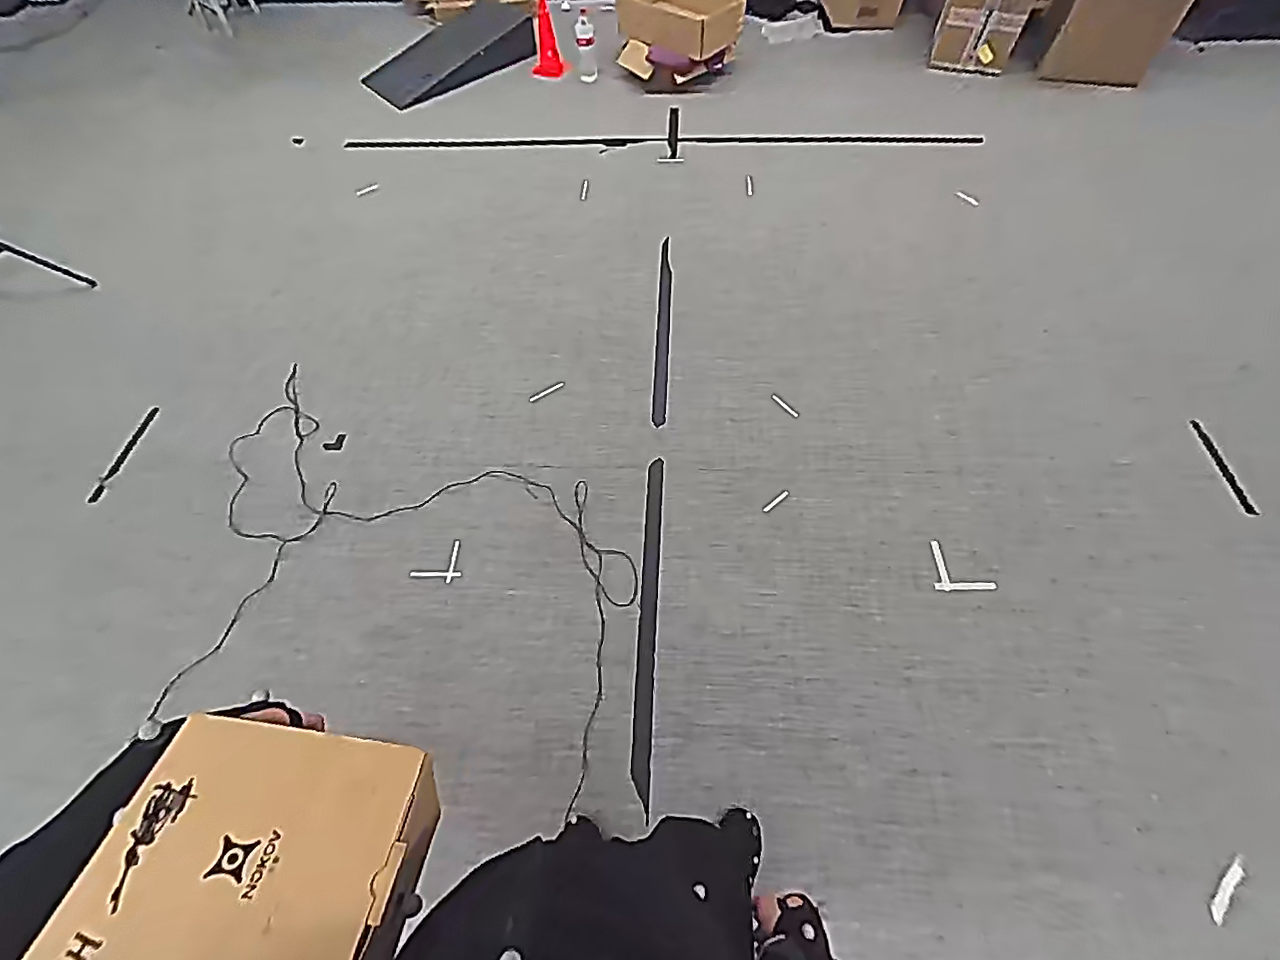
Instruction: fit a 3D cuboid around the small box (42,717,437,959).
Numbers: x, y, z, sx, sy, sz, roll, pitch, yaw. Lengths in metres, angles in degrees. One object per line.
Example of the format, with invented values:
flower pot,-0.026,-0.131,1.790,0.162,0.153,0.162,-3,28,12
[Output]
small box,-0.265,0.306,0.406,0.179,0.176,0.168,12,43,-5
